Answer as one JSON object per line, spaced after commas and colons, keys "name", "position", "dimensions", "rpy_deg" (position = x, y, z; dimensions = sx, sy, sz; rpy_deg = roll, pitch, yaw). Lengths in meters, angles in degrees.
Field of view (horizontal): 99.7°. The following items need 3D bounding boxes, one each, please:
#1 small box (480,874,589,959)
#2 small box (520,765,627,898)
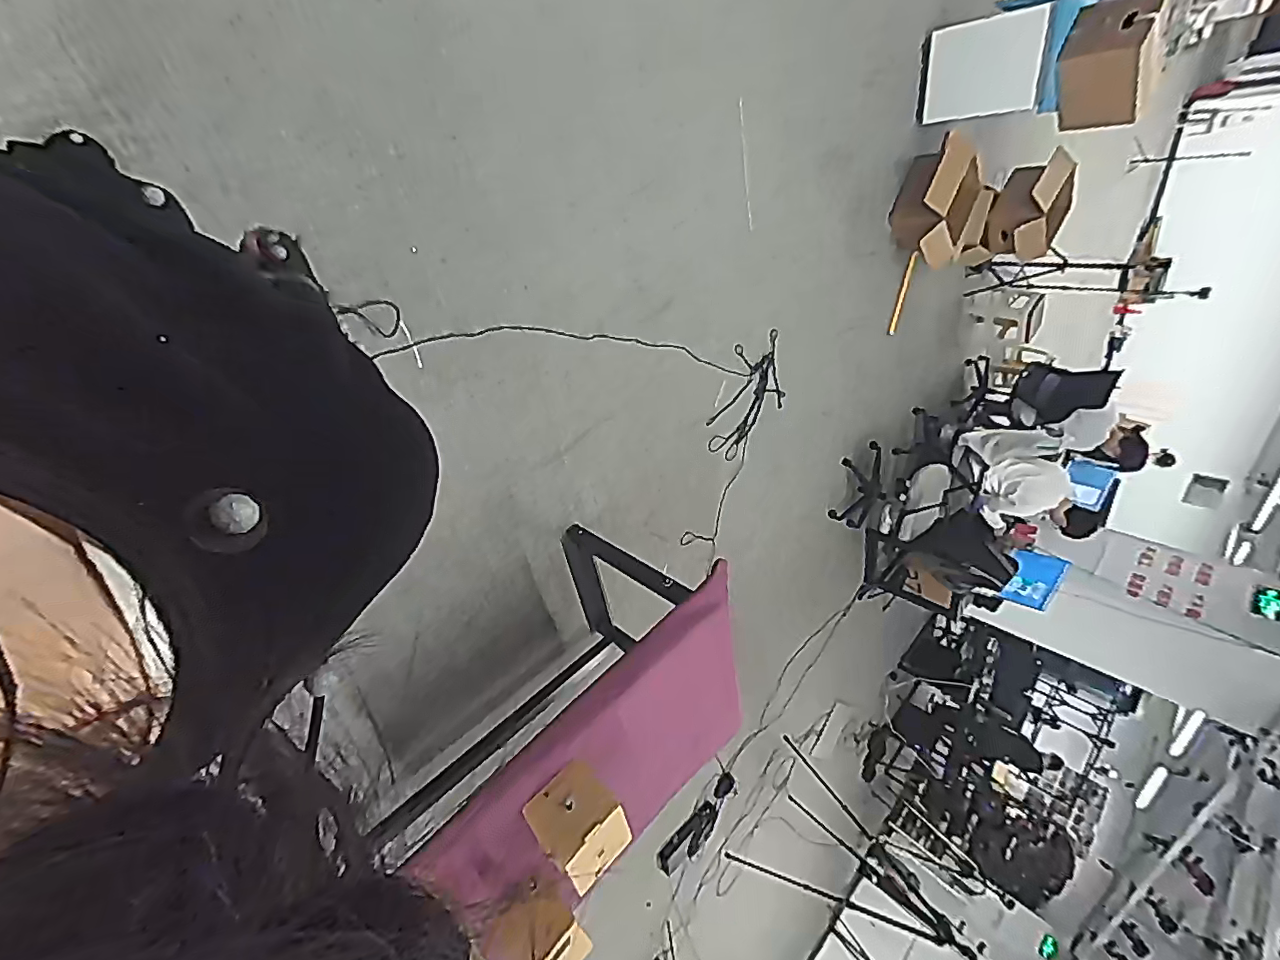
{"name": "small box", "position": [-0.253, 1.092, 1.289], "dimensions": [0.168, 0.176, 0.179], "rpy_deg": [-36, 131, -30]}
{"name": "small box", "position": [-0.156, 0.808, 1.262], "dimensions": [0.168, 0.176, 0.179], "rpy_deg": [-34, 130, -31]}
